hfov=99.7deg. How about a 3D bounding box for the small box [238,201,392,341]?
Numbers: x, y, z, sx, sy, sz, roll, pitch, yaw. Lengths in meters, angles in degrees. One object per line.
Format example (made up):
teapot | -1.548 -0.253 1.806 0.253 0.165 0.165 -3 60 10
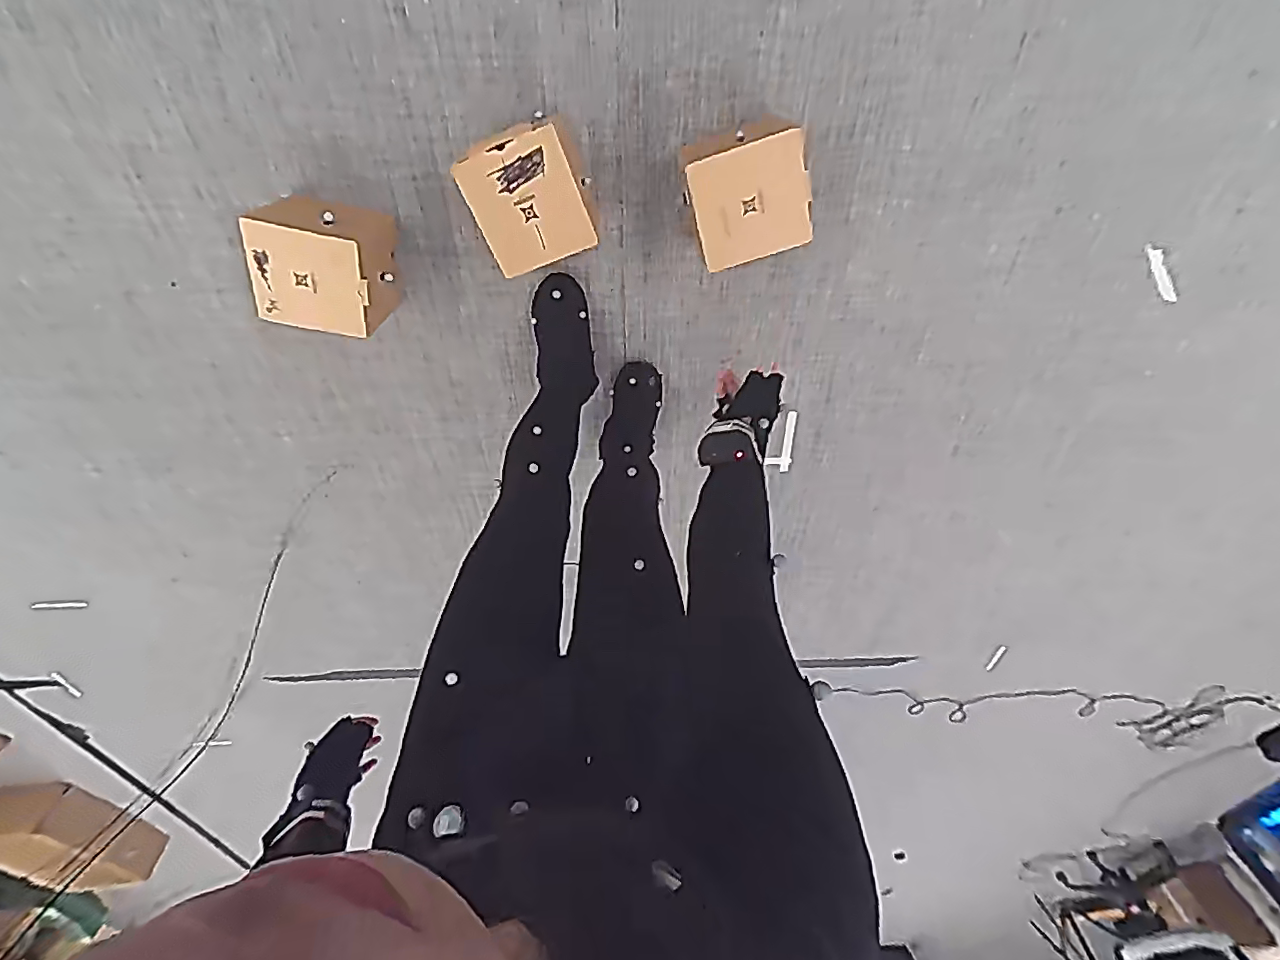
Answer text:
small box | -0.538 -0.363 0.929 0.179 0.176 0.168 9 126 -10

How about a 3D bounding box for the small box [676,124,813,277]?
small box | 0.168 -0.463 0.890 0.179 0.176 0.168 -15 126 10

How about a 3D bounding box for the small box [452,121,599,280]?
small box | -0.173 -0.457 0.874 0.168 0.176 0.179 -17 127 10
